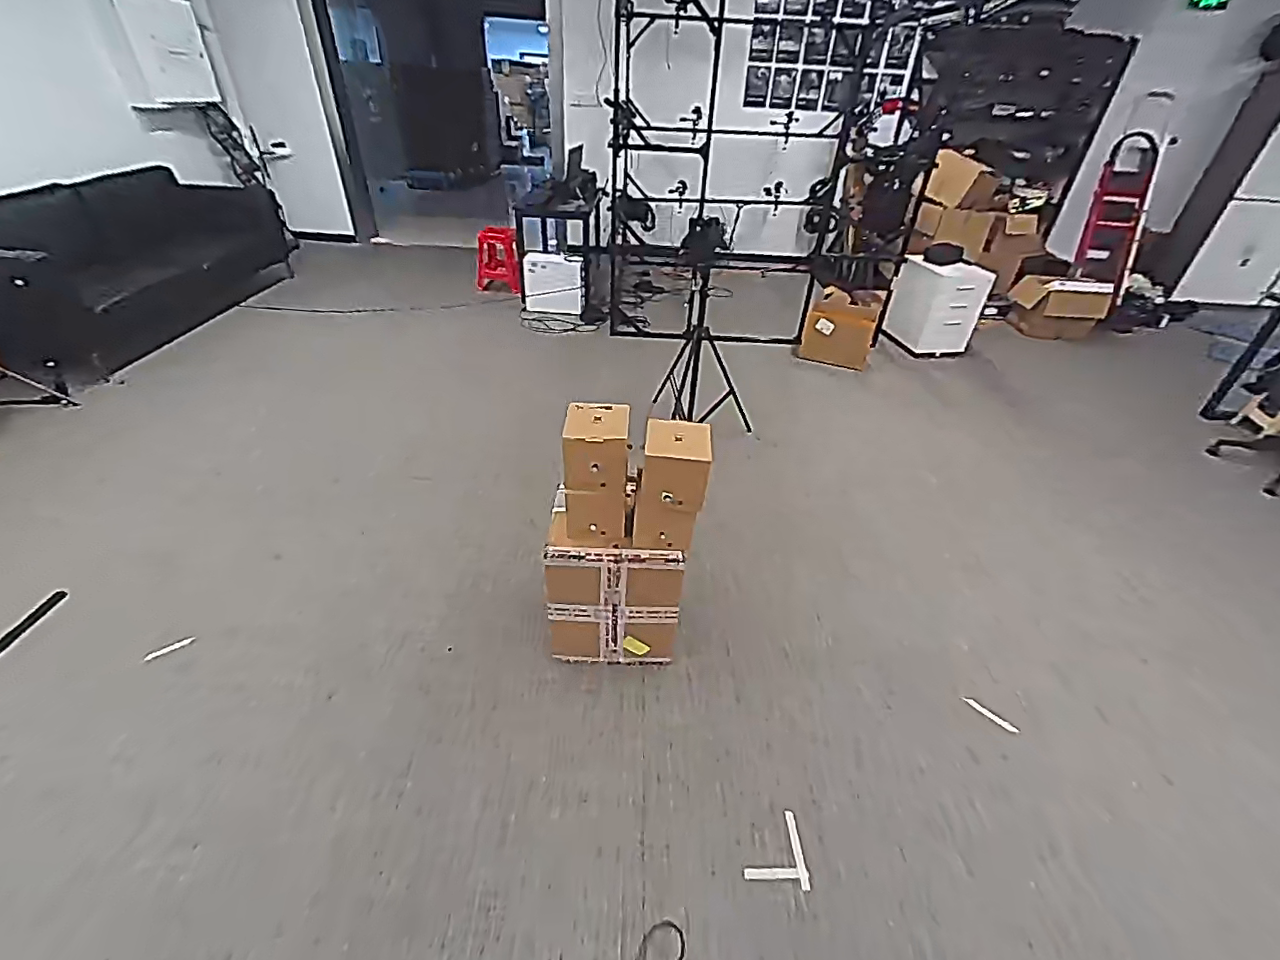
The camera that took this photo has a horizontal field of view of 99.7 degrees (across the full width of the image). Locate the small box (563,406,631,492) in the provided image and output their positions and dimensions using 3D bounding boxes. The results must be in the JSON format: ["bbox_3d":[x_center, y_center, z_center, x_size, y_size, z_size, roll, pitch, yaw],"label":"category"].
[{"bbox_3d":[-0.111,-0.083,1.463,0.168,0.176,0.179,1,39,0],"label":"small box"}]

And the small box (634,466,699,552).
[{"bbox_3d":[0.071,0.081,1.534,0.168,0.176,0.179,3,38,-1],"label":"small box"}]

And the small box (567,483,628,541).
[{"bbox_3d":[-0.119,0.054,1.554,0.168,0.176,0.179,0,39,-2],"label":"small box"}]

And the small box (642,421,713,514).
[{"bbox_3d":[0.095,-0.034,1.417,0.168,0.176,0.179,4,39,0],"label":"small box"}]
